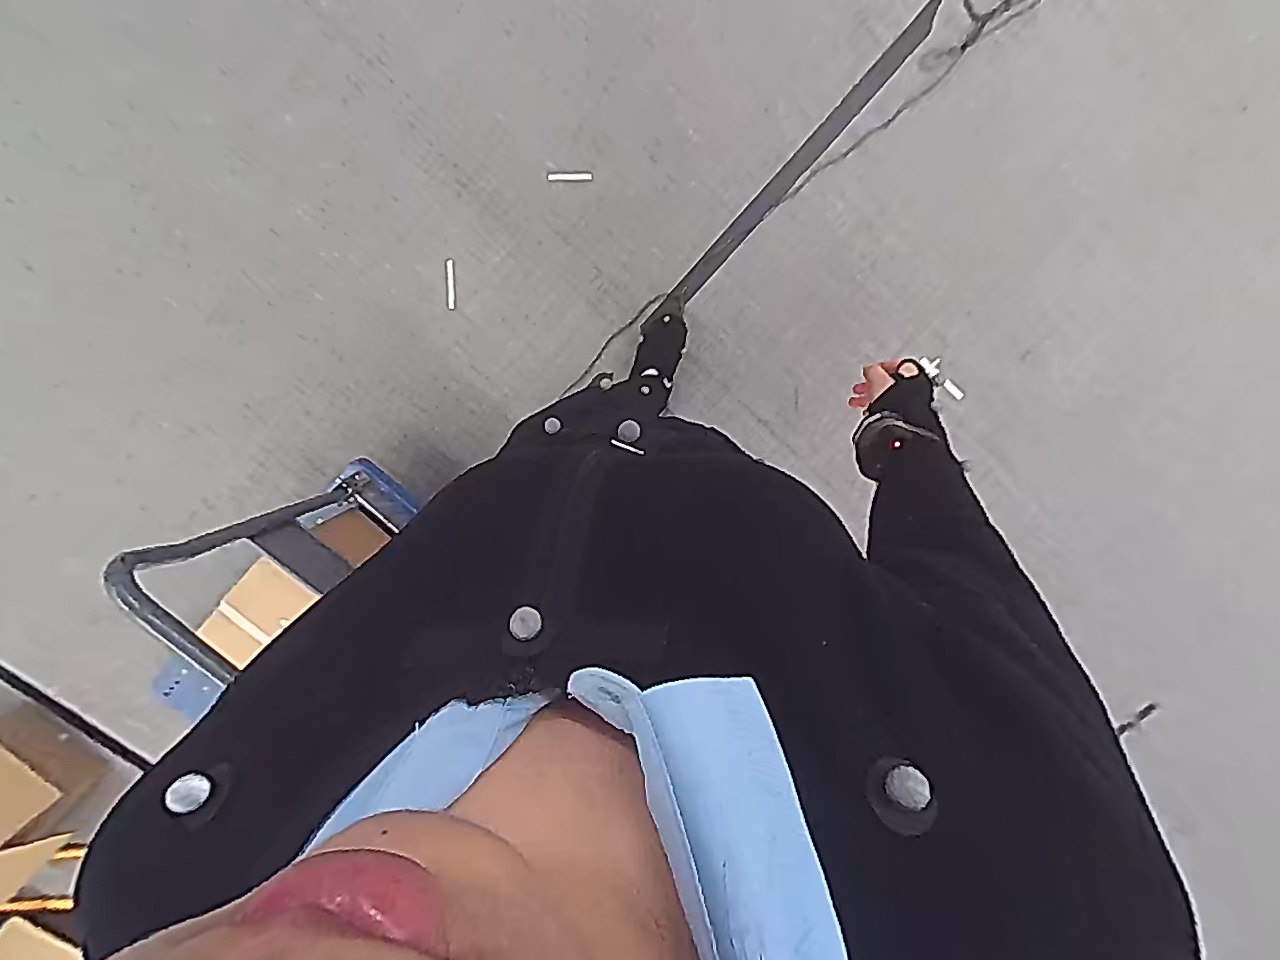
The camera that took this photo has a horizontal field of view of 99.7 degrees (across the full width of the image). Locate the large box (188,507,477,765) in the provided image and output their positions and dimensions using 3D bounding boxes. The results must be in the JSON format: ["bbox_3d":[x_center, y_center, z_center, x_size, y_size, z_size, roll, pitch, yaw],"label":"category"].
[{"bbox_3d":[-0.656,0.332,1.227,0.408,0.320,0.320,44,98,-7],"label":"large box"}]
